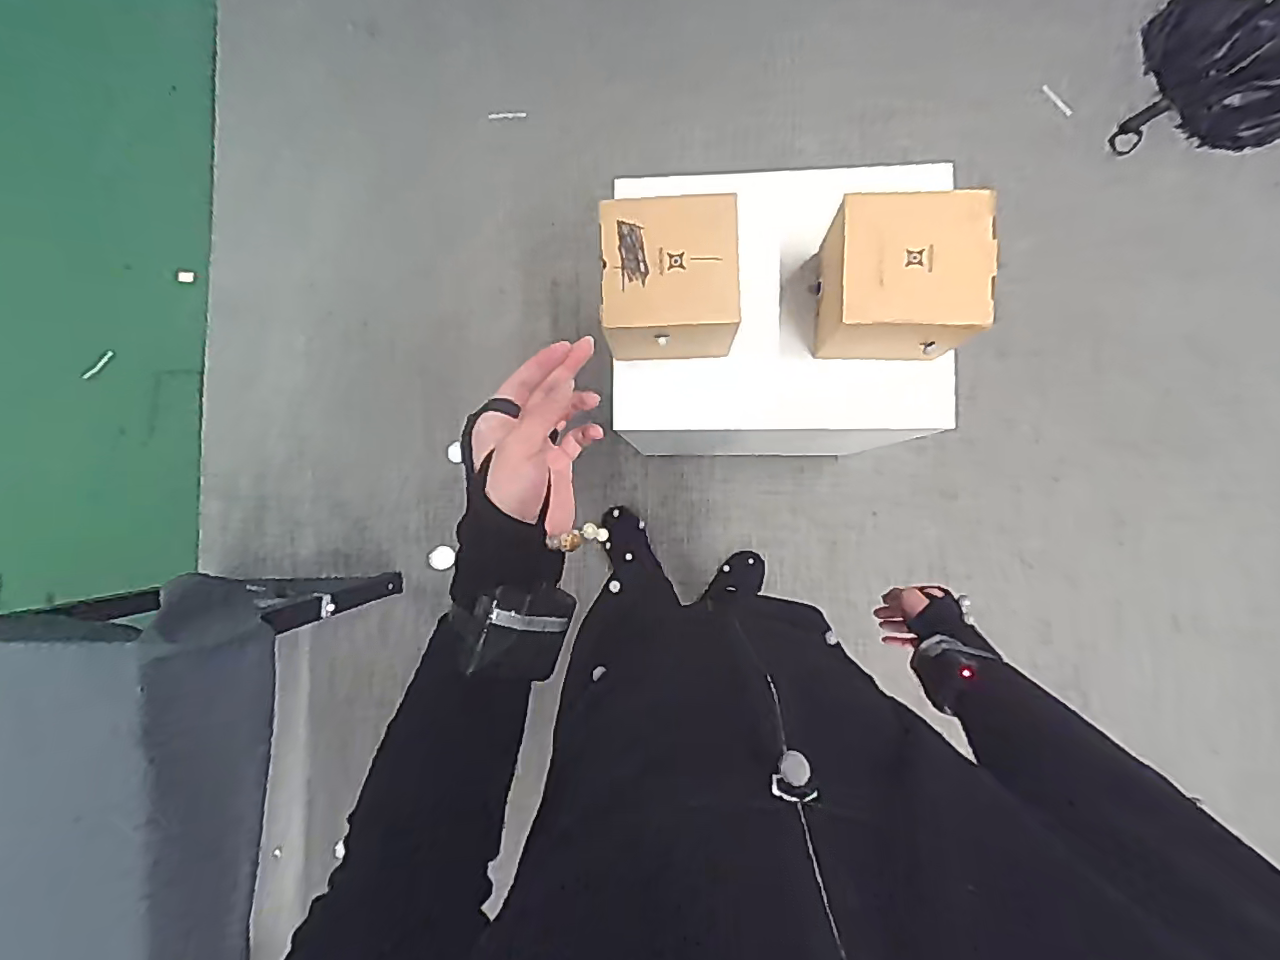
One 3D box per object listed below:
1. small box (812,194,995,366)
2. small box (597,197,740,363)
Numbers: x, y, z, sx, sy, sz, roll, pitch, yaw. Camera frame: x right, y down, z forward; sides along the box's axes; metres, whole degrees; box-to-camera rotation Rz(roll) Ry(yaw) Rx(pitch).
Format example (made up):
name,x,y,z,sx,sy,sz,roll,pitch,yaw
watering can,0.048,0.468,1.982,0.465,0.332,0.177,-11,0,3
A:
name,x,y,z,sx,sy,sz,roll,pitch,yaw
small box,0.338,-0.255,0.721,0.179,0.176,0.168,1,87,7
small box,0.041,-0.263,0.748,0.179,0.176,0.168,-2,88,4
